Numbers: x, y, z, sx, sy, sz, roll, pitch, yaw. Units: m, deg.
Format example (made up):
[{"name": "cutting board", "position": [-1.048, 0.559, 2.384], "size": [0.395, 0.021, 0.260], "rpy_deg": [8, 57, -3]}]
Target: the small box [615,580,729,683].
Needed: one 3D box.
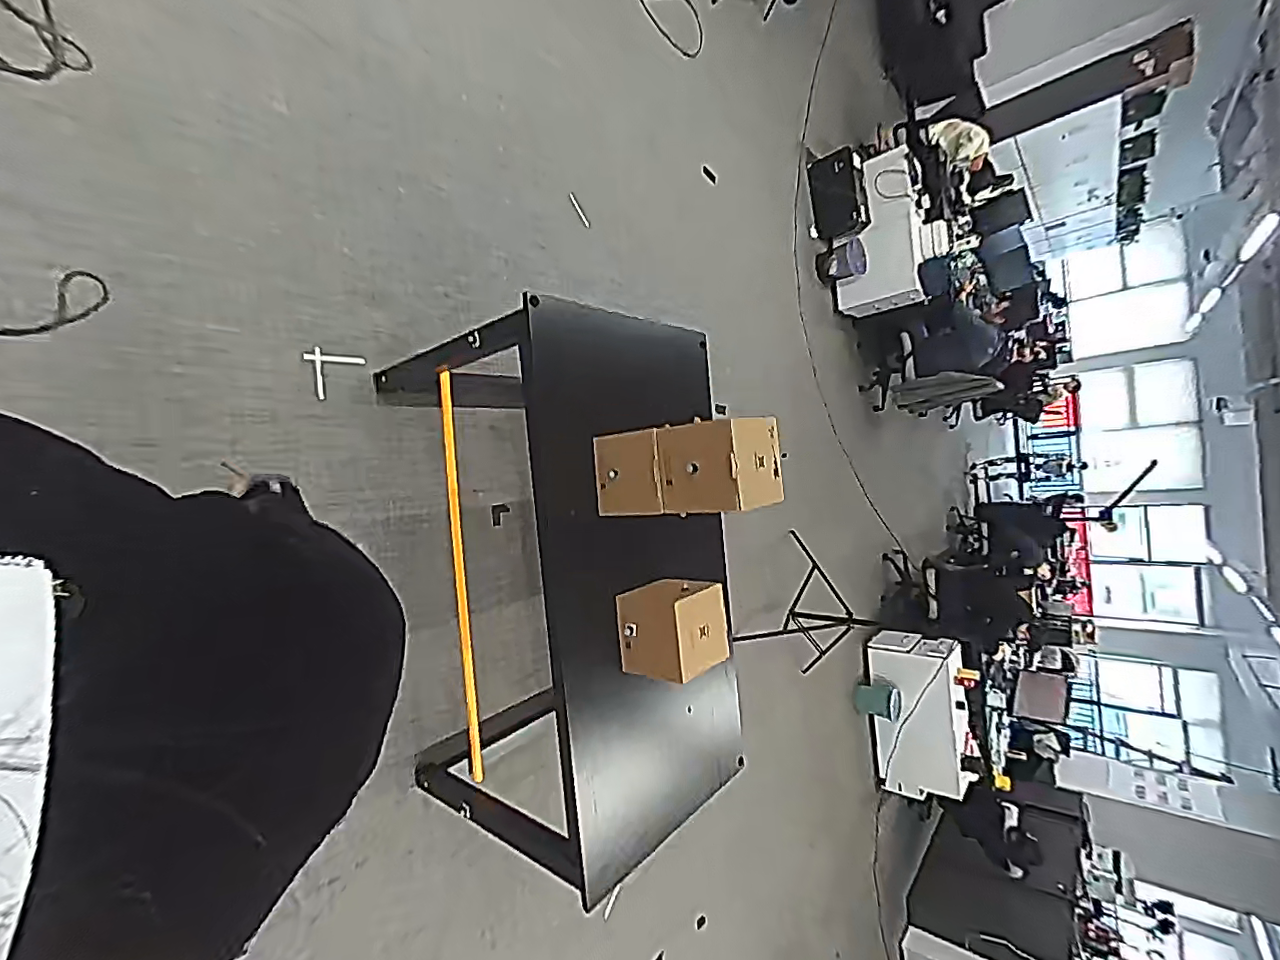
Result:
[{"name": "small box", "position": [0.070, 0.315, 1.170], "size": [0.179, 0.176, 0.168], "rpy_deg": [-8, 91, -48]}]

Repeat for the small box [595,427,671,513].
[{"name": "small box", "position": [0.025, -0.019, 1.147], "size": [0.179, 0.176, 0.168], "rpy_deg": [-4, 89, -49]}]

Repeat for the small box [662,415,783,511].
[{"name": "small box", "position": [0.154, -0.032, 1.047], "size": [0.179, 0.176, 0.168], "rpy_deg": [-8, 93, -48]}]
